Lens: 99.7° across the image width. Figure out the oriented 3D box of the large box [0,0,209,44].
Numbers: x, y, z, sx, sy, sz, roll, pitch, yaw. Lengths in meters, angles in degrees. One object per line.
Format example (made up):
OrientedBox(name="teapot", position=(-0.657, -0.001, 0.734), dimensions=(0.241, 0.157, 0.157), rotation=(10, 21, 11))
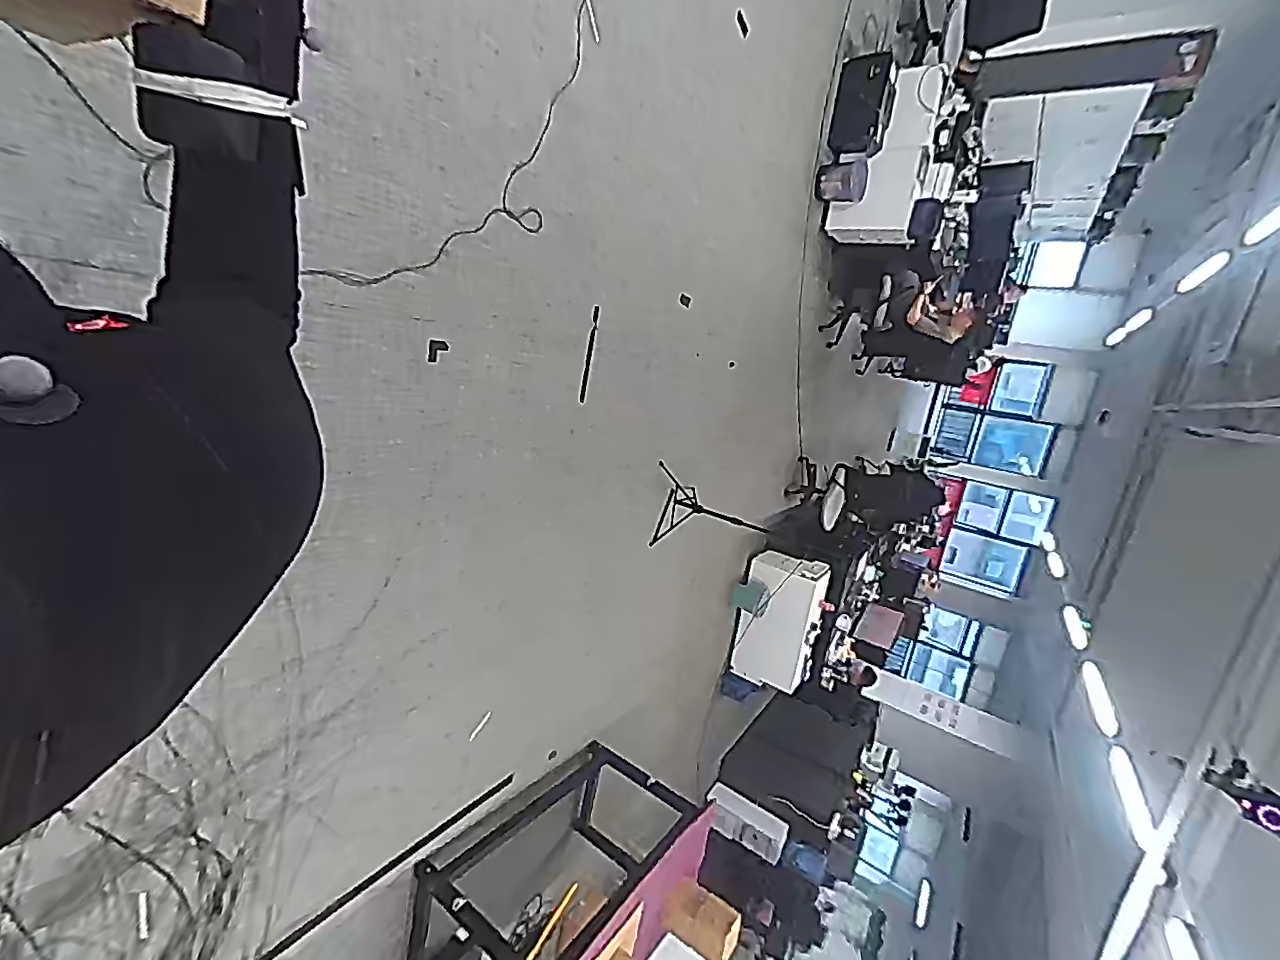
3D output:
OrientedBox(name="large box", position=(-0.452, -0.447, 0.194), dimensions=(0.408, 0.320, 0.320), rotation=(-8, 119, -57))
